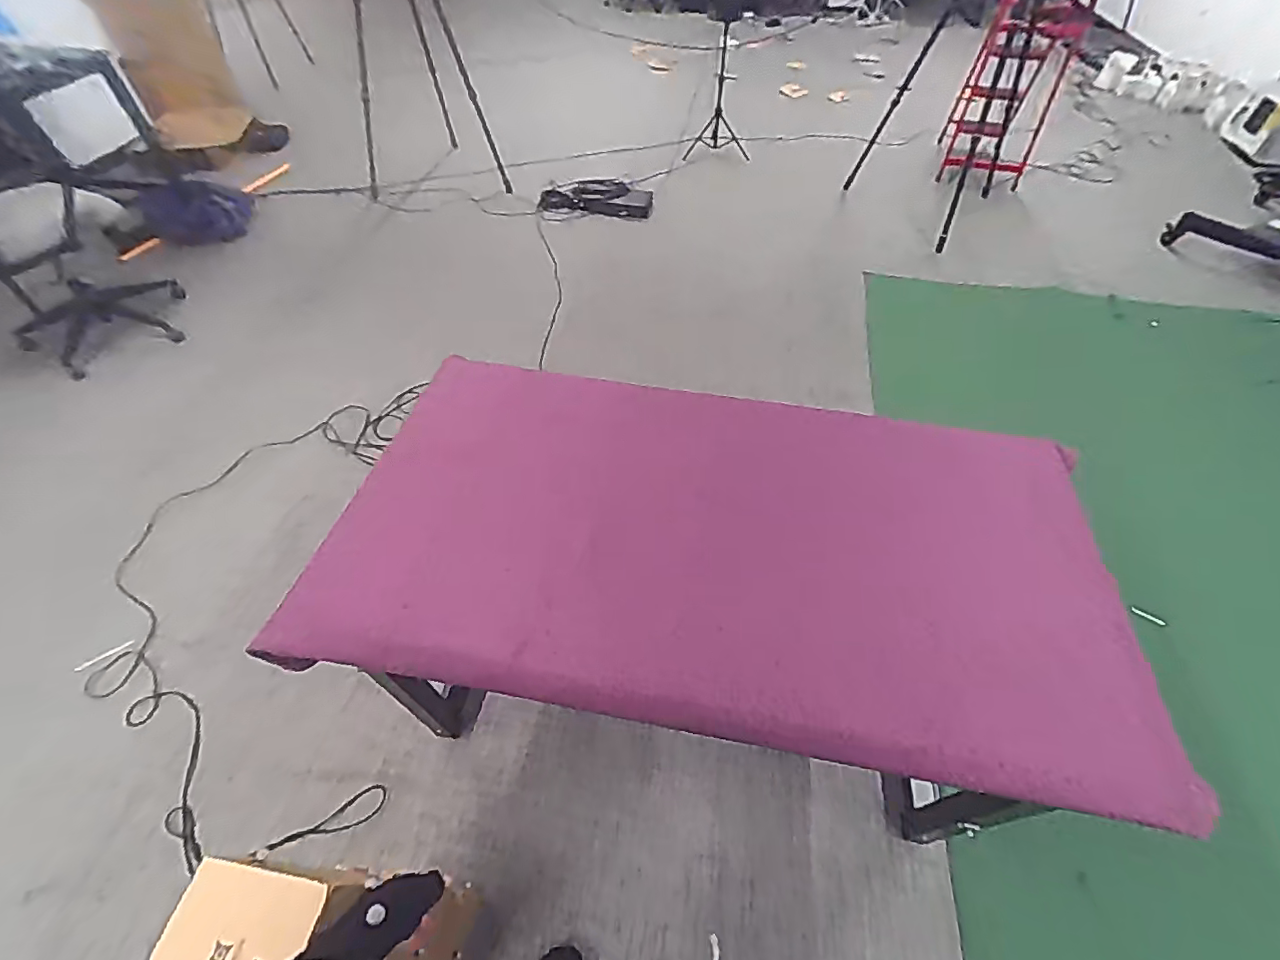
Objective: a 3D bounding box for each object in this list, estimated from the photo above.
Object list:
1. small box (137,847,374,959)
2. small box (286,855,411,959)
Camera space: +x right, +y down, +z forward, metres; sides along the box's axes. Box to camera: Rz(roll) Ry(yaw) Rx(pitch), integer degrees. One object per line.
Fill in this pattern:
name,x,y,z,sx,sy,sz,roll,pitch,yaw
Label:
small box,-0.478,0.582,0.679,0.179,0.176,0.168,9,54,6
small box,-0.467,0.686,0.807,0.168,0.176,0.179,8,54,6
